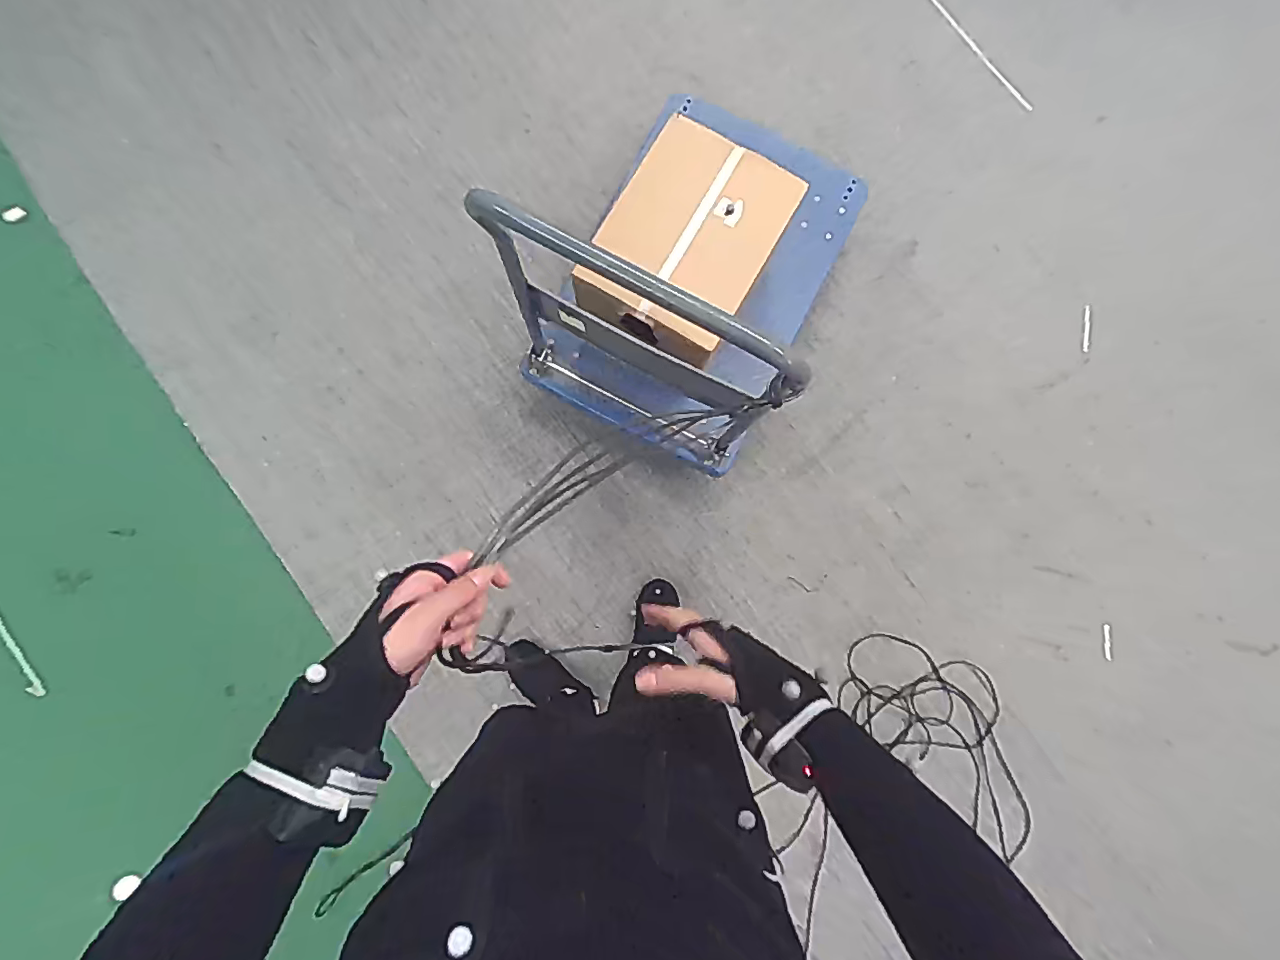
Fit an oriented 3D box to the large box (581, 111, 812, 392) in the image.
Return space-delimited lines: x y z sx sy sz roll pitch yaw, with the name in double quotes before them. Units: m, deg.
"large box" 0.109 -0.469 1.187 0.320 0.320 0.408 30 83 1
